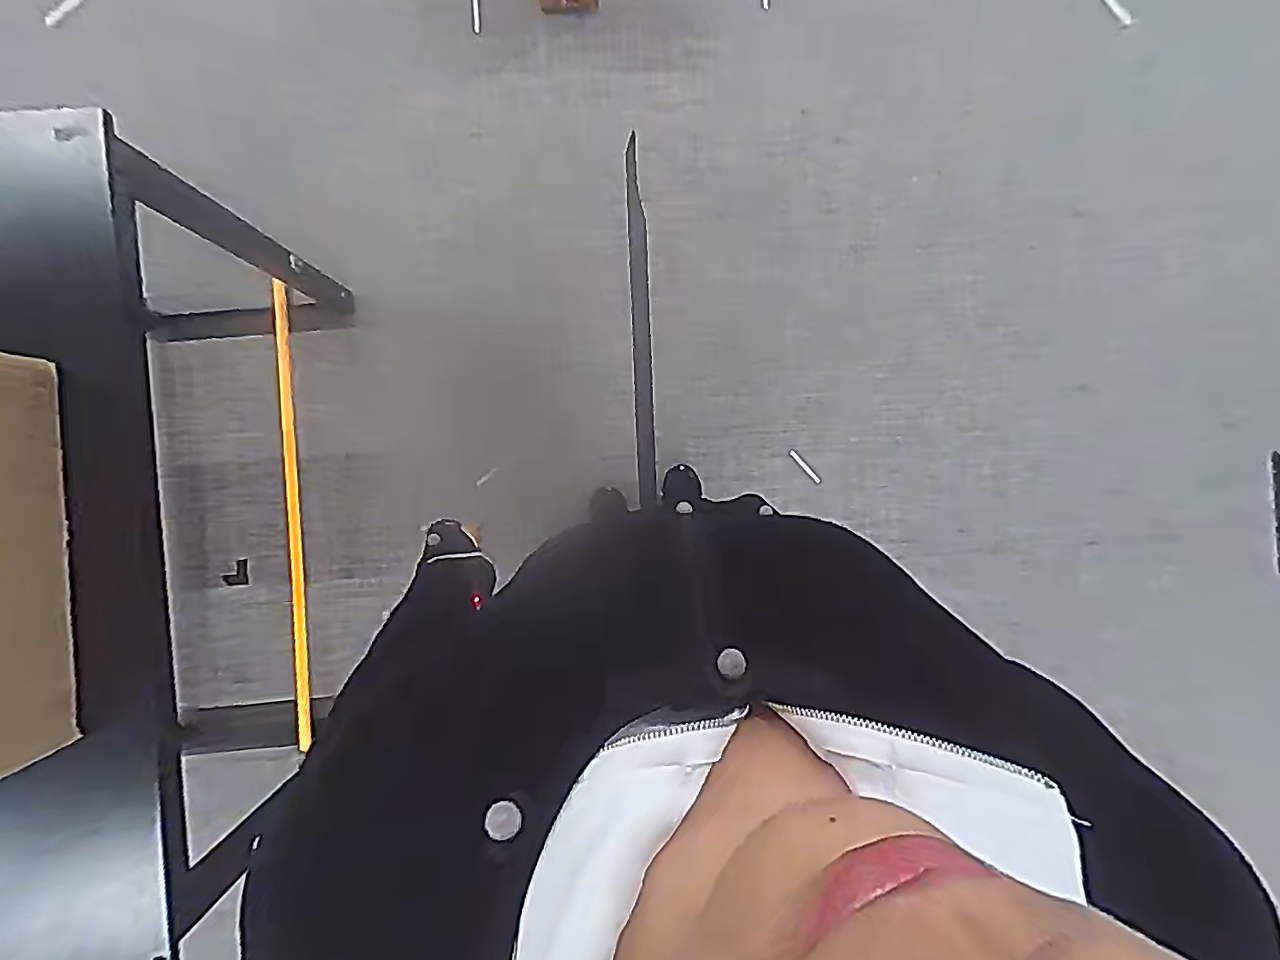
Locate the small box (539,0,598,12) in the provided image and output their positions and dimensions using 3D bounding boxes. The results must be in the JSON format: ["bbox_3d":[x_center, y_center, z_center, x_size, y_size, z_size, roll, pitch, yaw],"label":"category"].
[{"bbox_3d":[-0.199,-1.373,1.400,0.168,0.176,0.179,-6,92,-1],"label":"small box"}]
